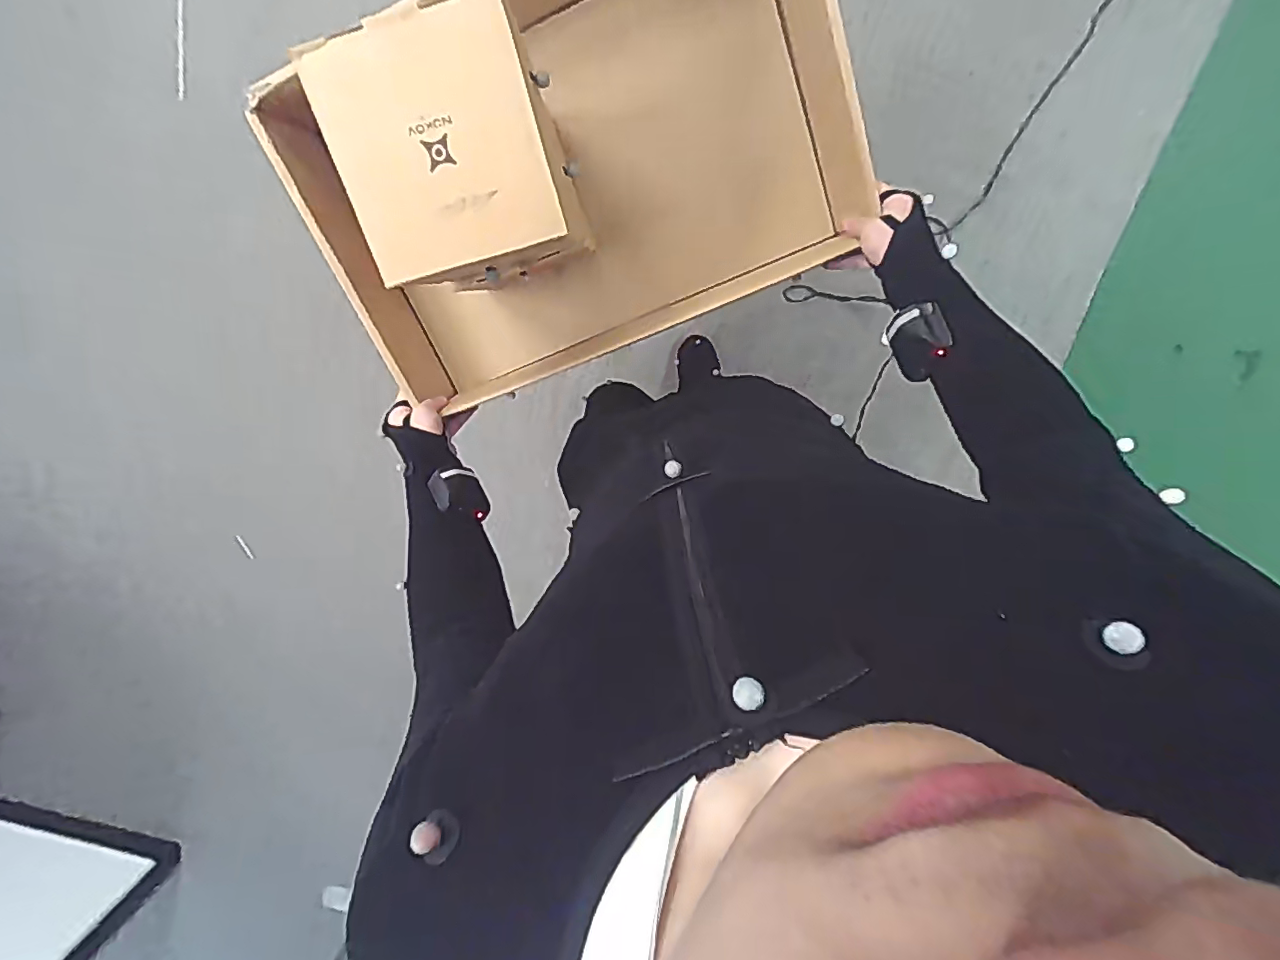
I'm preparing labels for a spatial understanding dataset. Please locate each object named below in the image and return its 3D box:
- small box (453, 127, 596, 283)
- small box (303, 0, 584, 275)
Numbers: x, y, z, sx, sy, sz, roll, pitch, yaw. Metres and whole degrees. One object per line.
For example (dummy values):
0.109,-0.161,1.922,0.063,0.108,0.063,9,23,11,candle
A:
-0.157,-0.348,0.653,0.168,0.176,0.179,-17,110,4,small box
-0.155,-0.297,0.498,0.168,0.176,0.179,-13,111,4,small box
